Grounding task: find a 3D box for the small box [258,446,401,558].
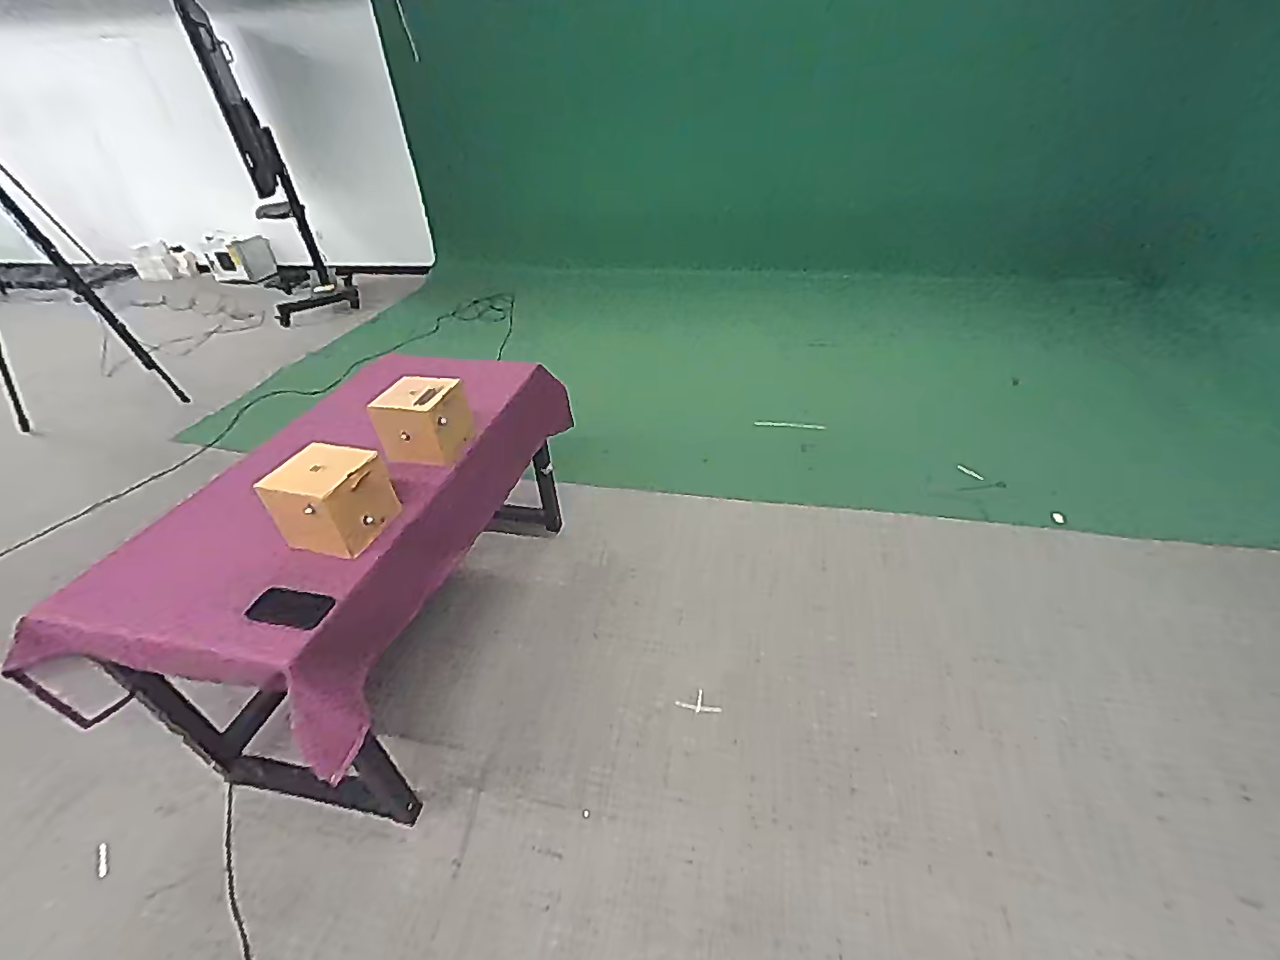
[{"bbox_3d":[-0.653,0.047,1.158,0.179,0.176,0.168,8,38,15],"label":"small box"}]
